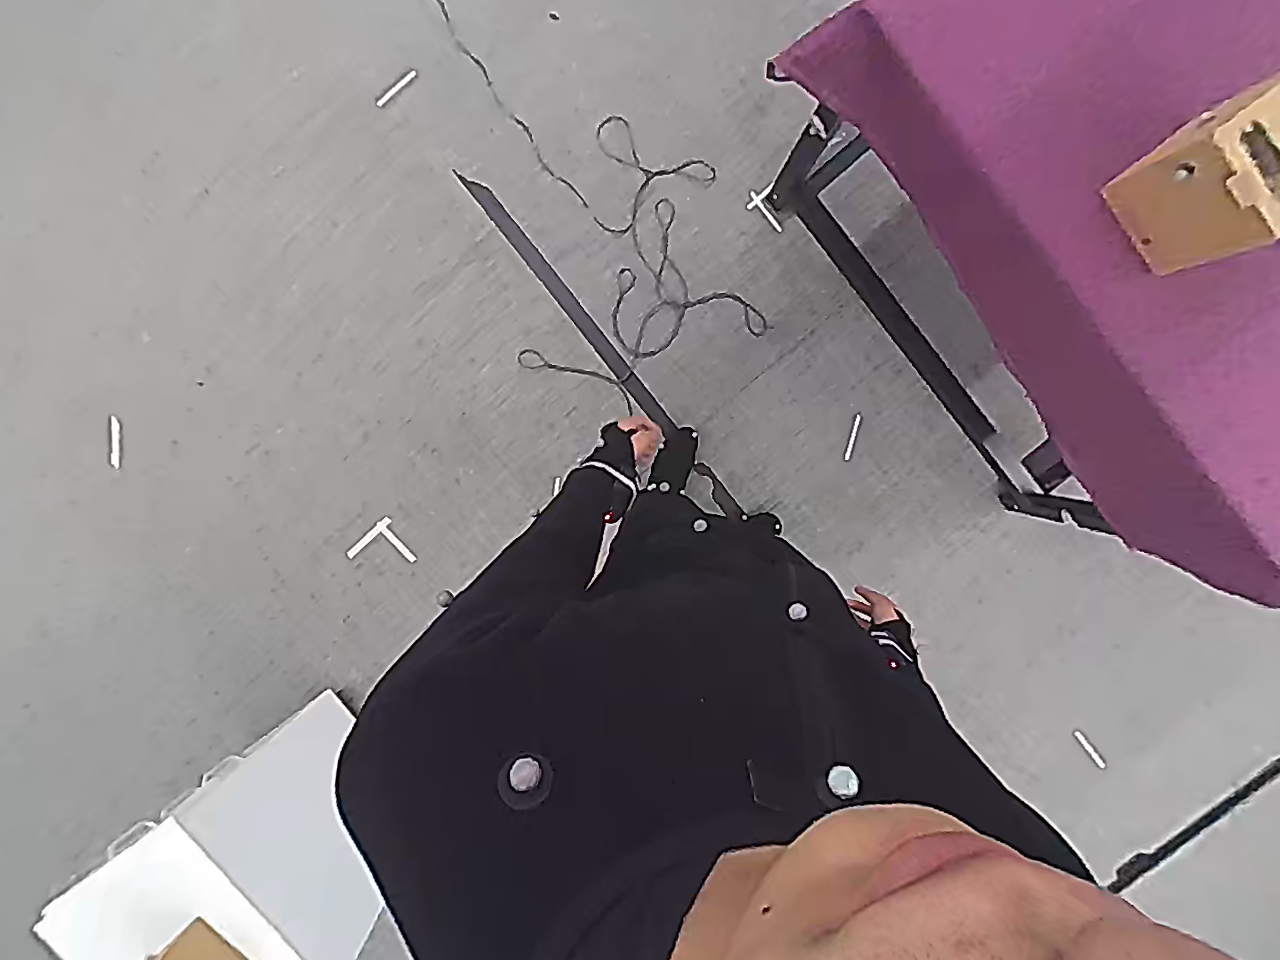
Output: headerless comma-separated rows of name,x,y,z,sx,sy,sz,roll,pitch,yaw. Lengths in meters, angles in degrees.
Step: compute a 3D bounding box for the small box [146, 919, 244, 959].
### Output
small box,-0.918,1.021,1.050,0.168,0.176,0.179,-44,94,4
